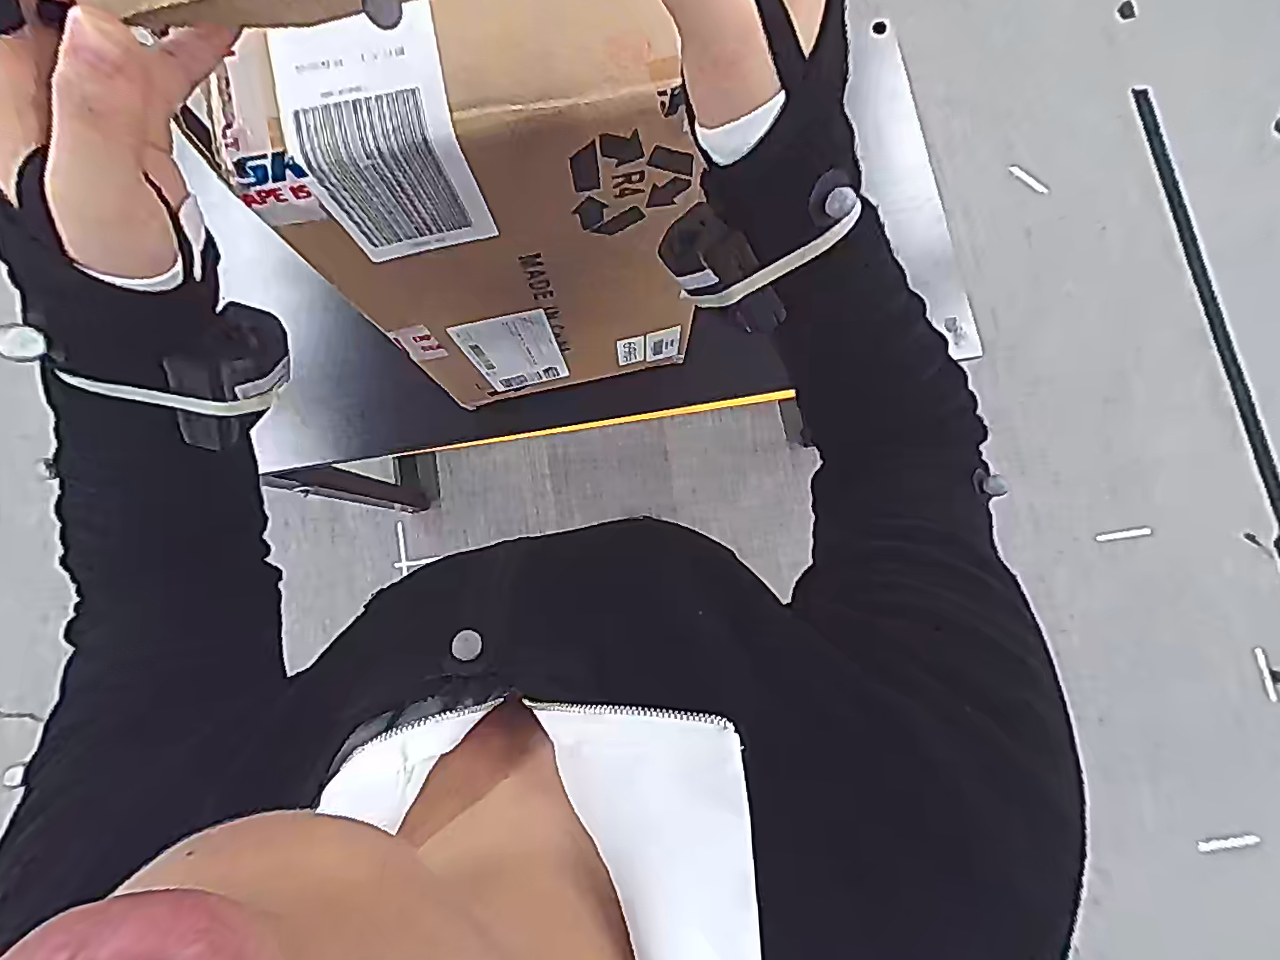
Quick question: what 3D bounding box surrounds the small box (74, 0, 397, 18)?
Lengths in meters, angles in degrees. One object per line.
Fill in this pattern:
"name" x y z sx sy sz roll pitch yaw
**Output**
"small box" -0.106 -0.267 0.168 0.179 0.168 0.176 -12 40 3
